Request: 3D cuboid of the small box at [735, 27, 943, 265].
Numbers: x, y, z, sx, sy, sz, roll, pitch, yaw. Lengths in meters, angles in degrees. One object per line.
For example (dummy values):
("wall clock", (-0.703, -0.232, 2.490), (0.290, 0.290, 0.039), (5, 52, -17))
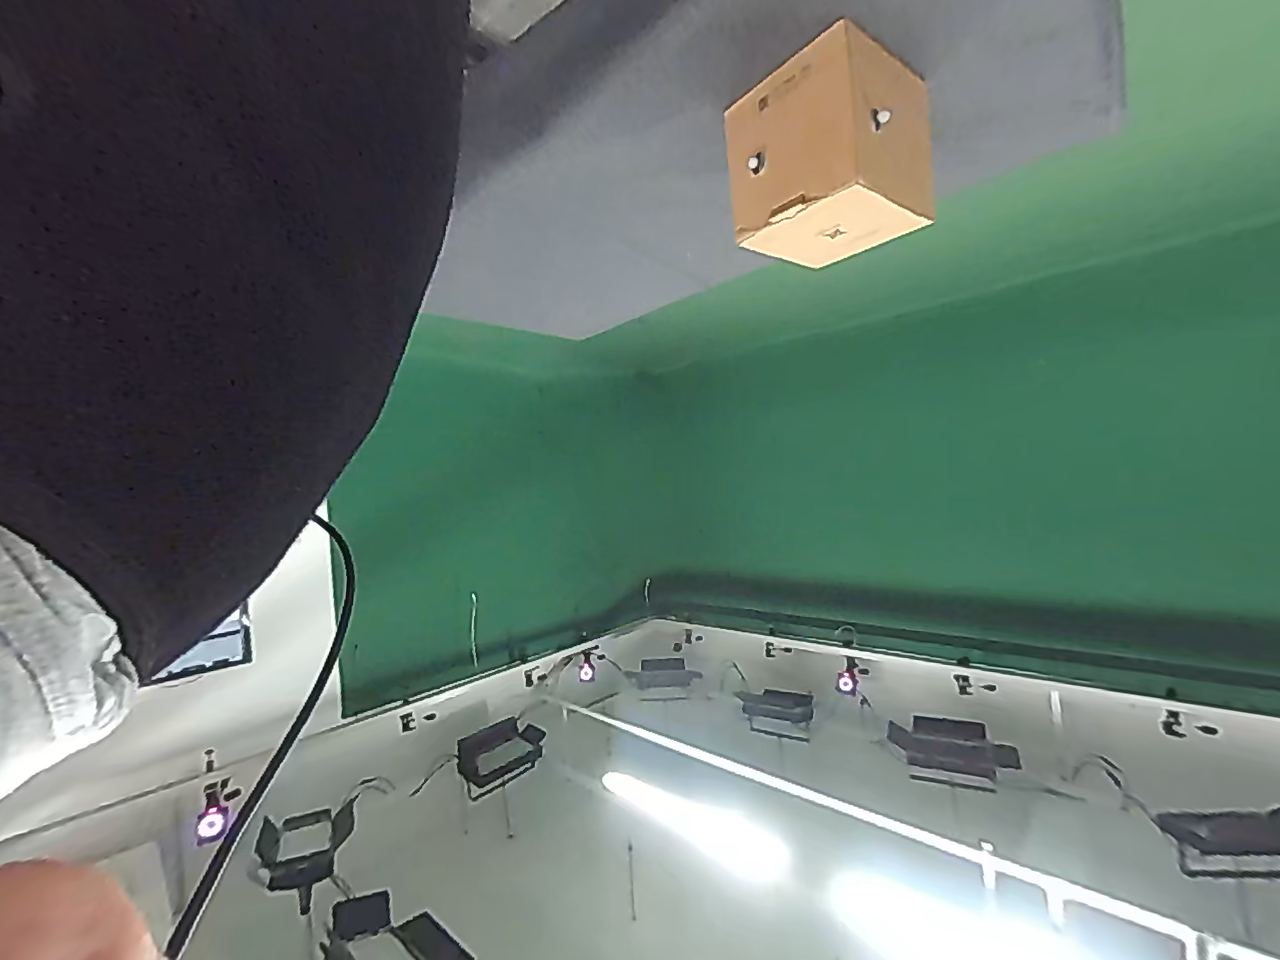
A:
("small box", (0.231, -0.380, 0.643), (0.179, 0.176, 0.168), (-7, -177, -36))
